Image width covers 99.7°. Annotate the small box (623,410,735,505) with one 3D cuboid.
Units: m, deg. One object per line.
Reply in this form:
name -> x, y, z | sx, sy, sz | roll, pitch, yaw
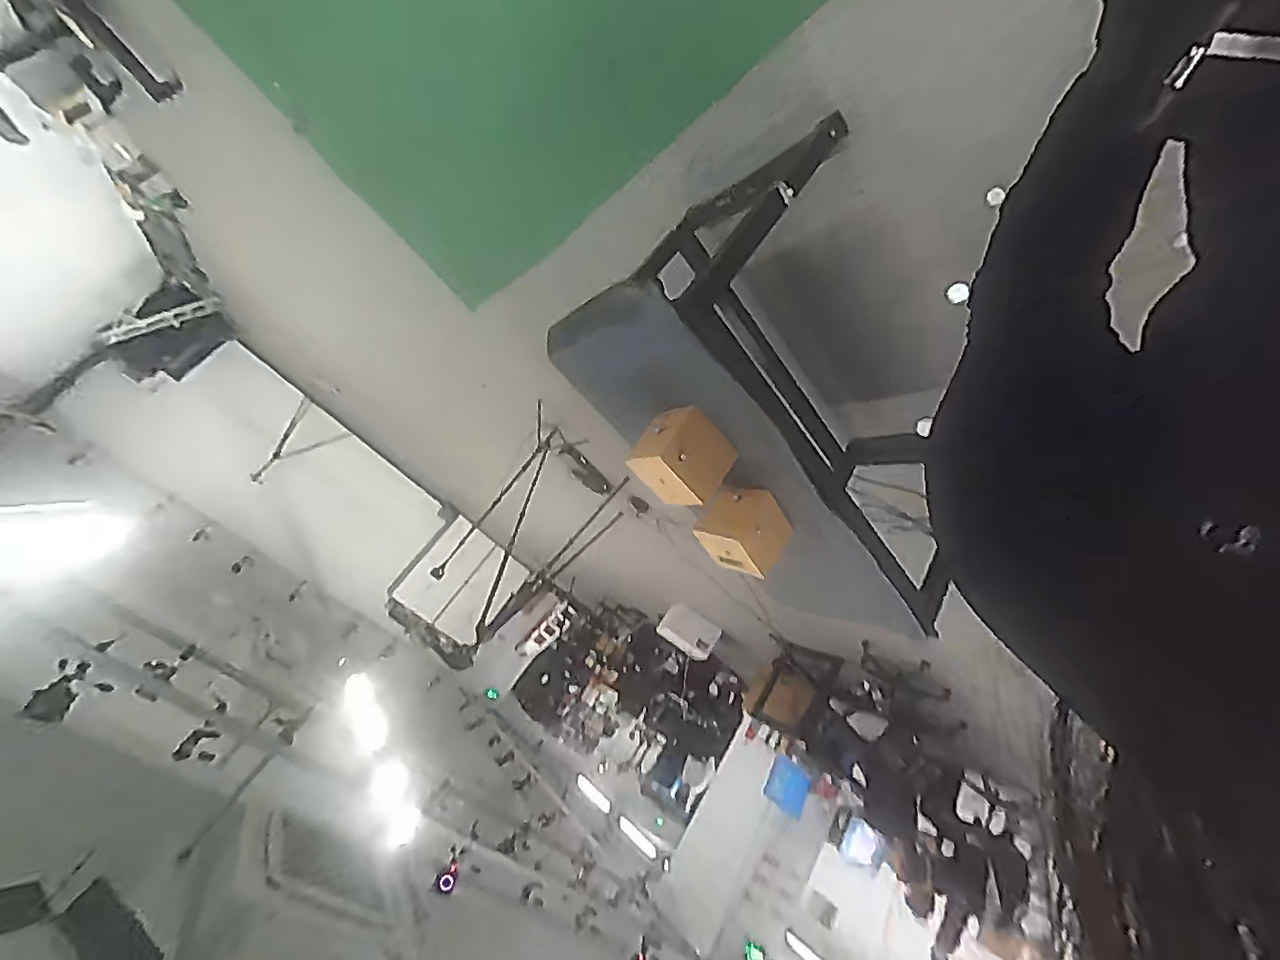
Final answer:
small box -> 0.097, -0.058, 1.330 | 0.179, 0.176, 0.168 | 45, 157, -23
